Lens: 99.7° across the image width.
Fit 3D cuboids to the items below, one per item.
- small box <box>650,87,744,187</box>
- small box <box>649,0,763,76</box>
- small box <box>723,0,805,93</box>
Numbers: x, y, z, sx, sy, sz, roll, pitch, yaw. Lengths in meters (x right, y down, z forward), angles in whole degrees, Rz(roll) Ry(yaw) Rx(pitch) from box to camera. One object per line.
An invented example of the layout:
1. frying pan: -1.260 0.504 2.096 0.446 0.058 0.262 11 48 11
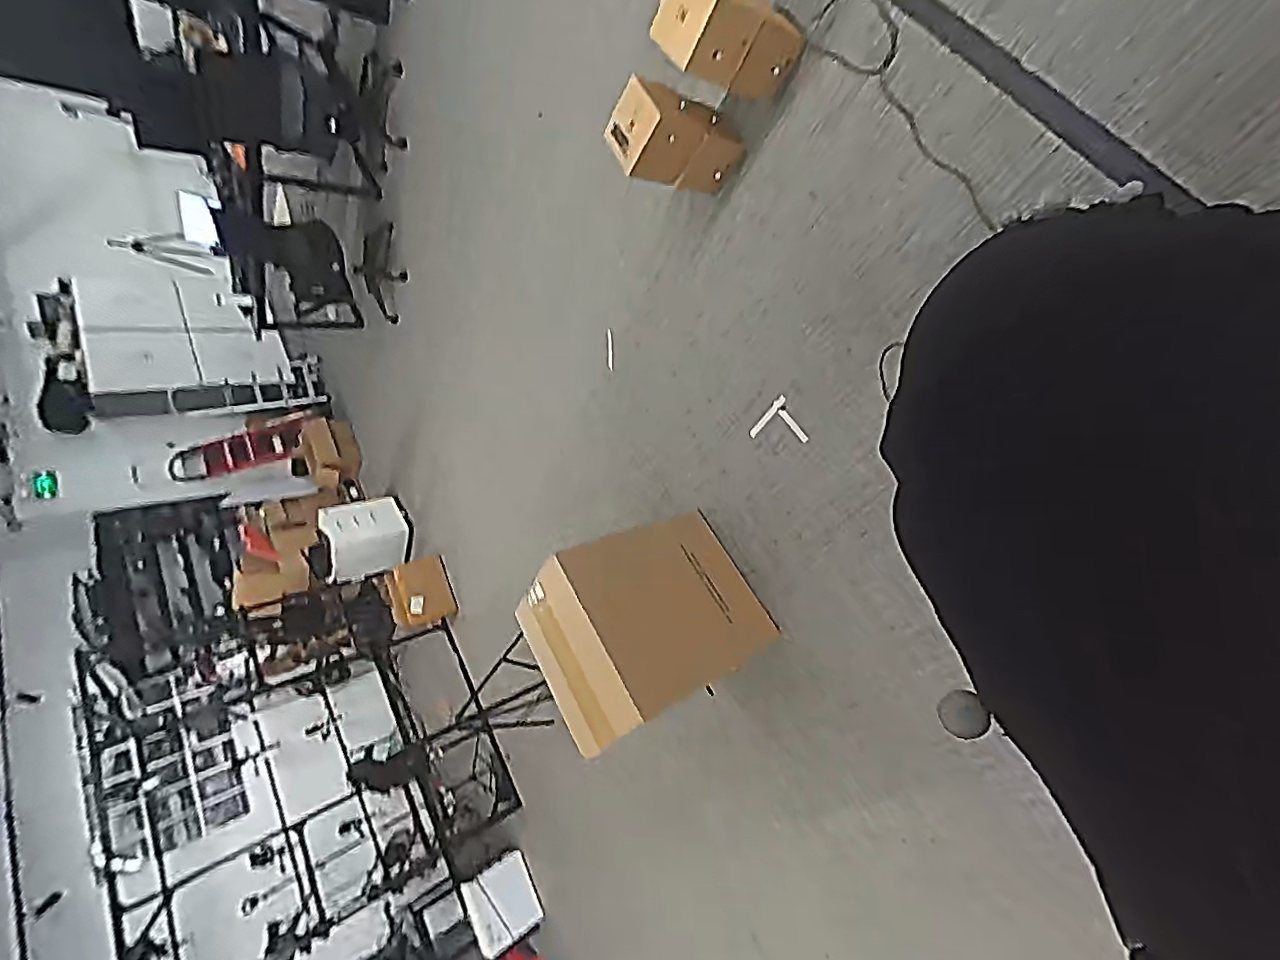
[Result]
1. small box: 0.166 -0.982 1.568 0.168 0.176 0.179 -43 69 47
2. small box: 0.158 -1.102 1.285 0.179 0.176 0.168 60 139 20
3. small box: 0.282 -1.134 1.385 0.179 0.176 0.168 59 139 19
